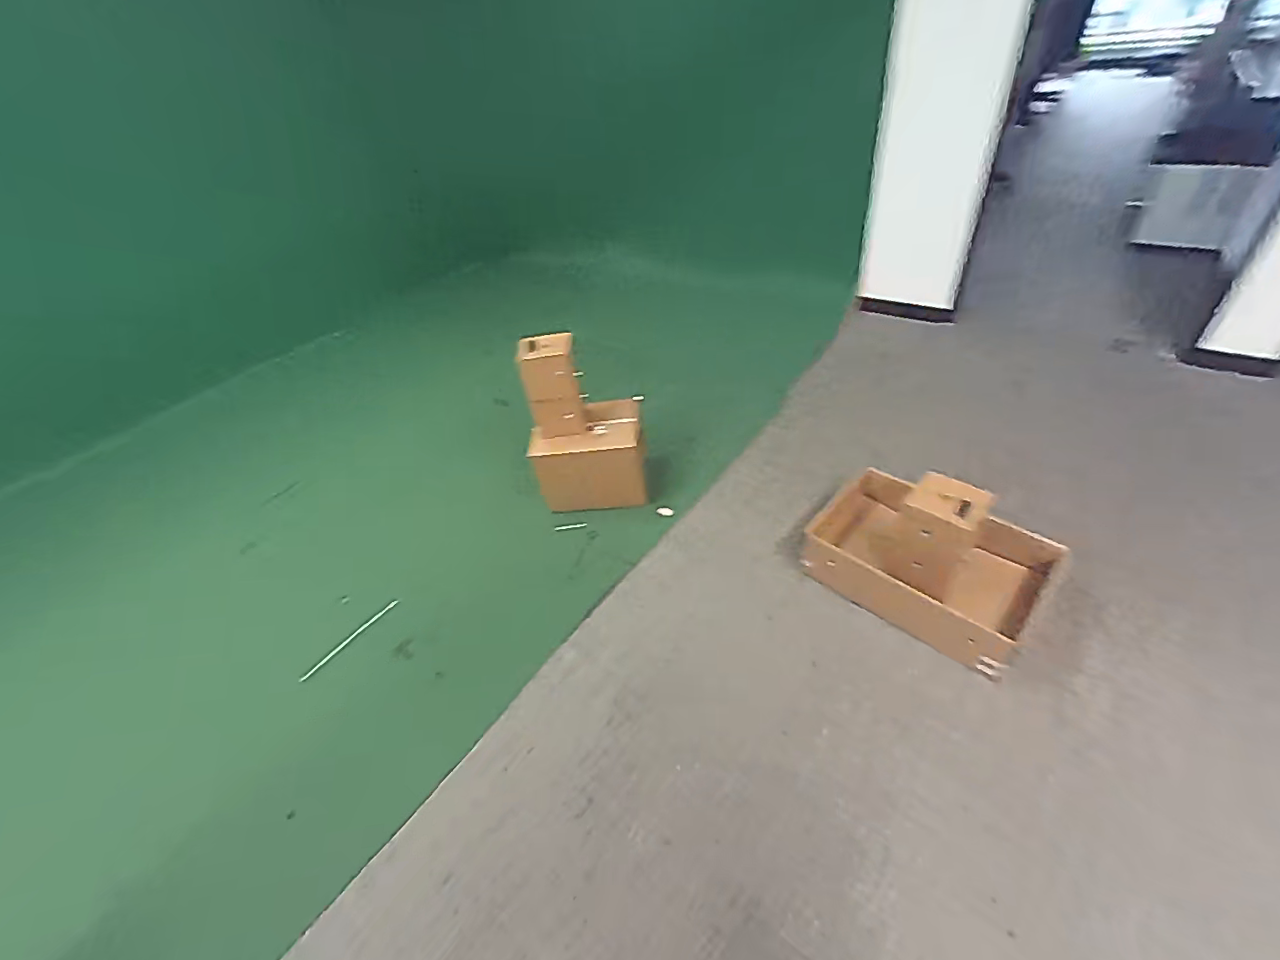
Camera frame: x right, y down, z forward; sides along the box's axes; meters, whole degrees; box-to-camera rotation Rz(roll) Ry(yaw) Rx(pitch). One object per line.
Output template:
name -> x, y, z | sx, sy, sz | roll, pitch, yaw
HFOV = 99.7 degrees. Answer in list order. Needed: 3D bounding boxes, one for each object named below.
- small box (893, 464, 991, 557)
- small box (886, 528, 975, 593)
small box -> 0.845, 0.091, 1.526 | 0.179, 0.176, 0.168 | 29, 56, 37
small box -> 0.872, 0.209, 1.638 | 0.179, 0.176, 0.168 | 29, 56, 35
